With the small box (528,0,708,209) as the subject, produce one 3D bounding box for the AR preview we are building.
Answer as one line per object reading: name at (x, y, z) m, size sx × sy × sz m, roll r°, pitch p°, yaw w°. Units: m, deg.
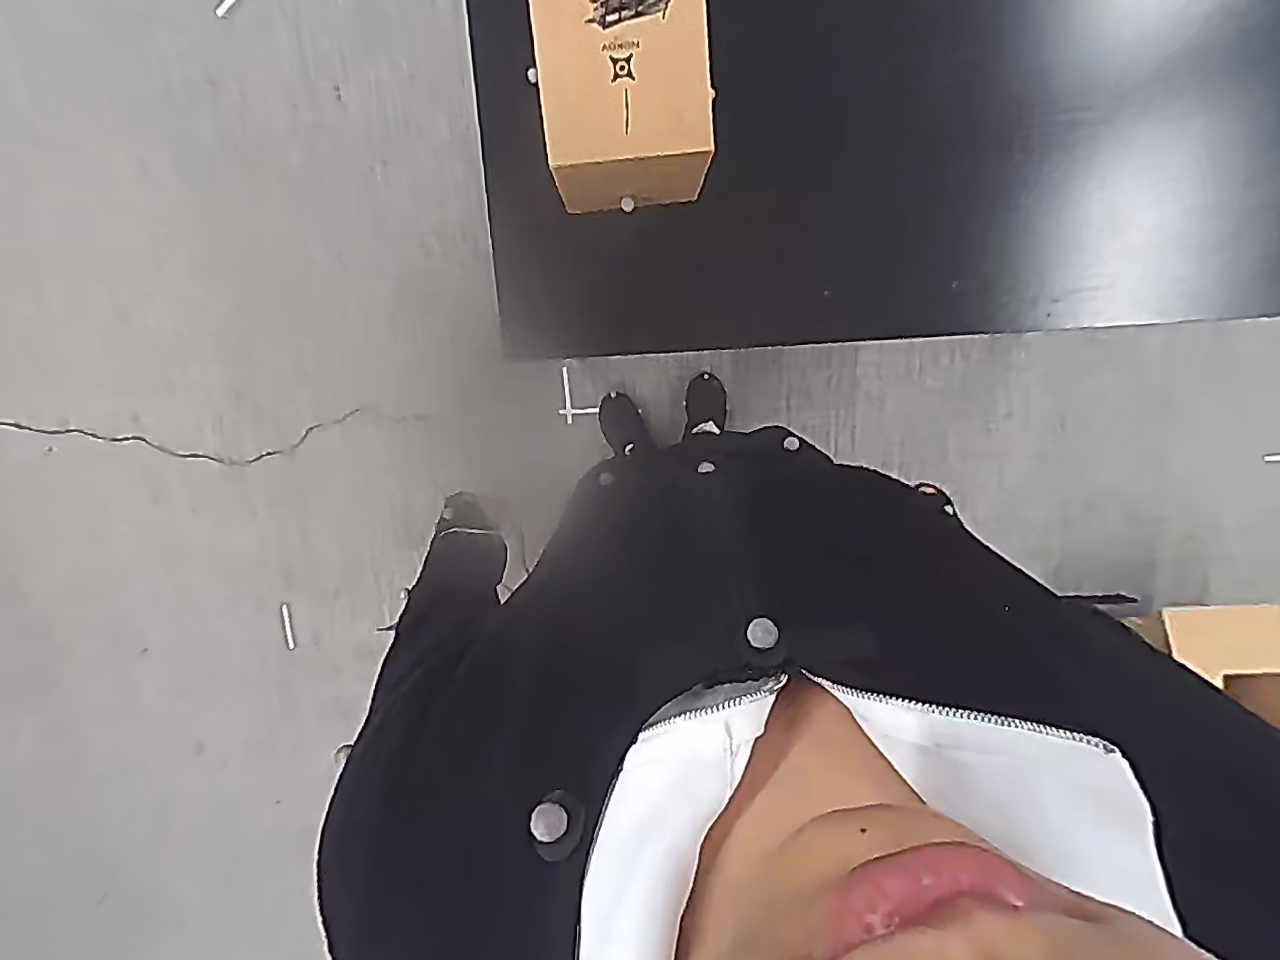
small box at (-0.022, -0.419, 0.593) m, size 0.168 × 0.176 × 0.179 m, roll -5°, pitch 103°, yaw 1°
